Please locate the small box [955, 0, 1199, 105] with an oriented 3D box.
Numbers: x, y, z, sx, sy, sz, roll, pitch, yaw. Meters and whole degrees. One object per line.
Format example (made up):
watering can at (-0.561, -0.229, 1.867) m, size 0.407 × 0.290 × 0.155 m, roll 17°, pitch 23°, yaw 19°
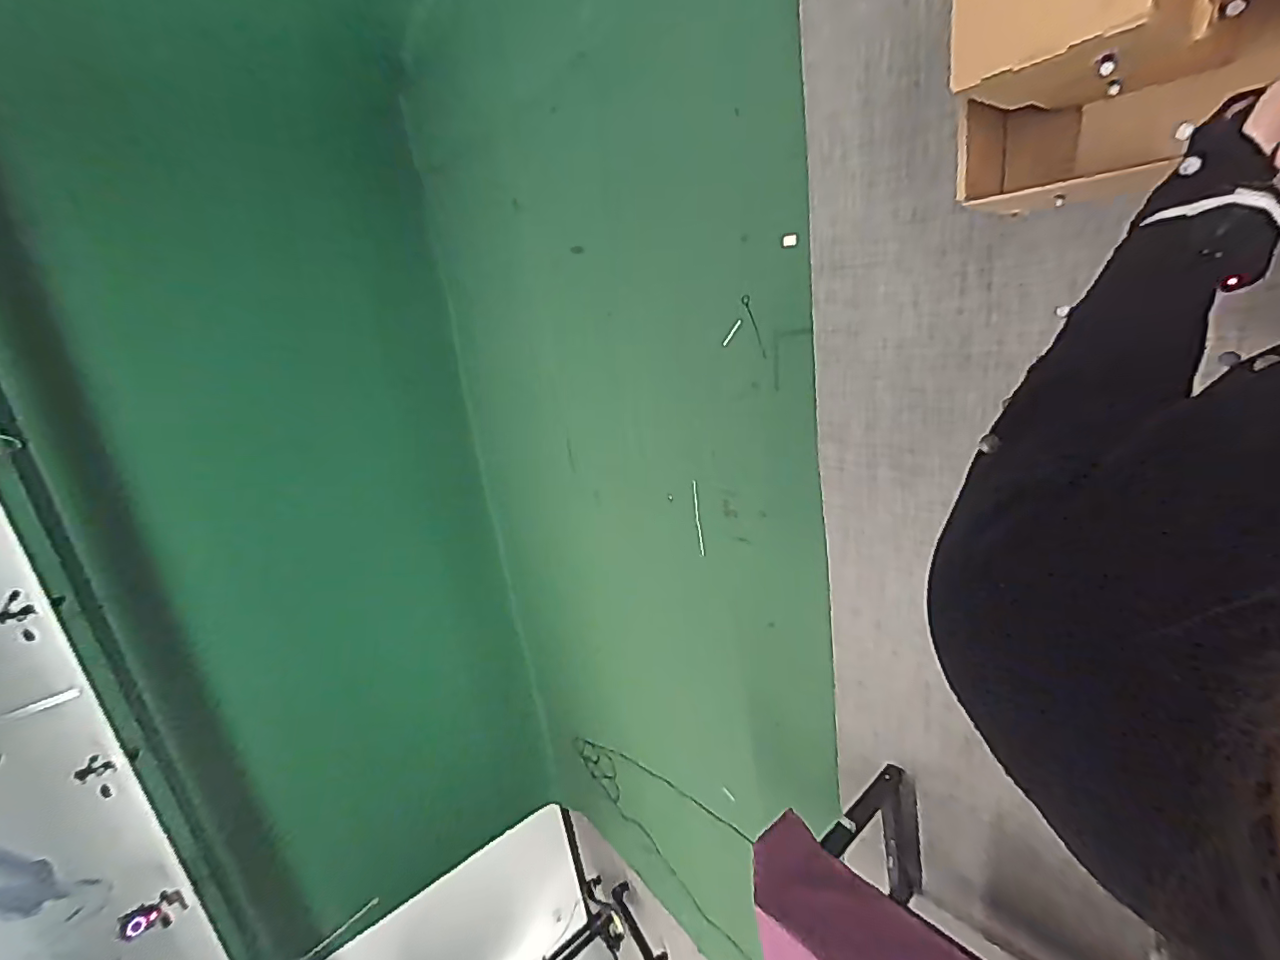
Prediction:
small box at (0.452, -0.513, 0.556) m, size 0.168 × 0.176 × 0.179 m, roll 16°, pitch 118°, yaw 51°
